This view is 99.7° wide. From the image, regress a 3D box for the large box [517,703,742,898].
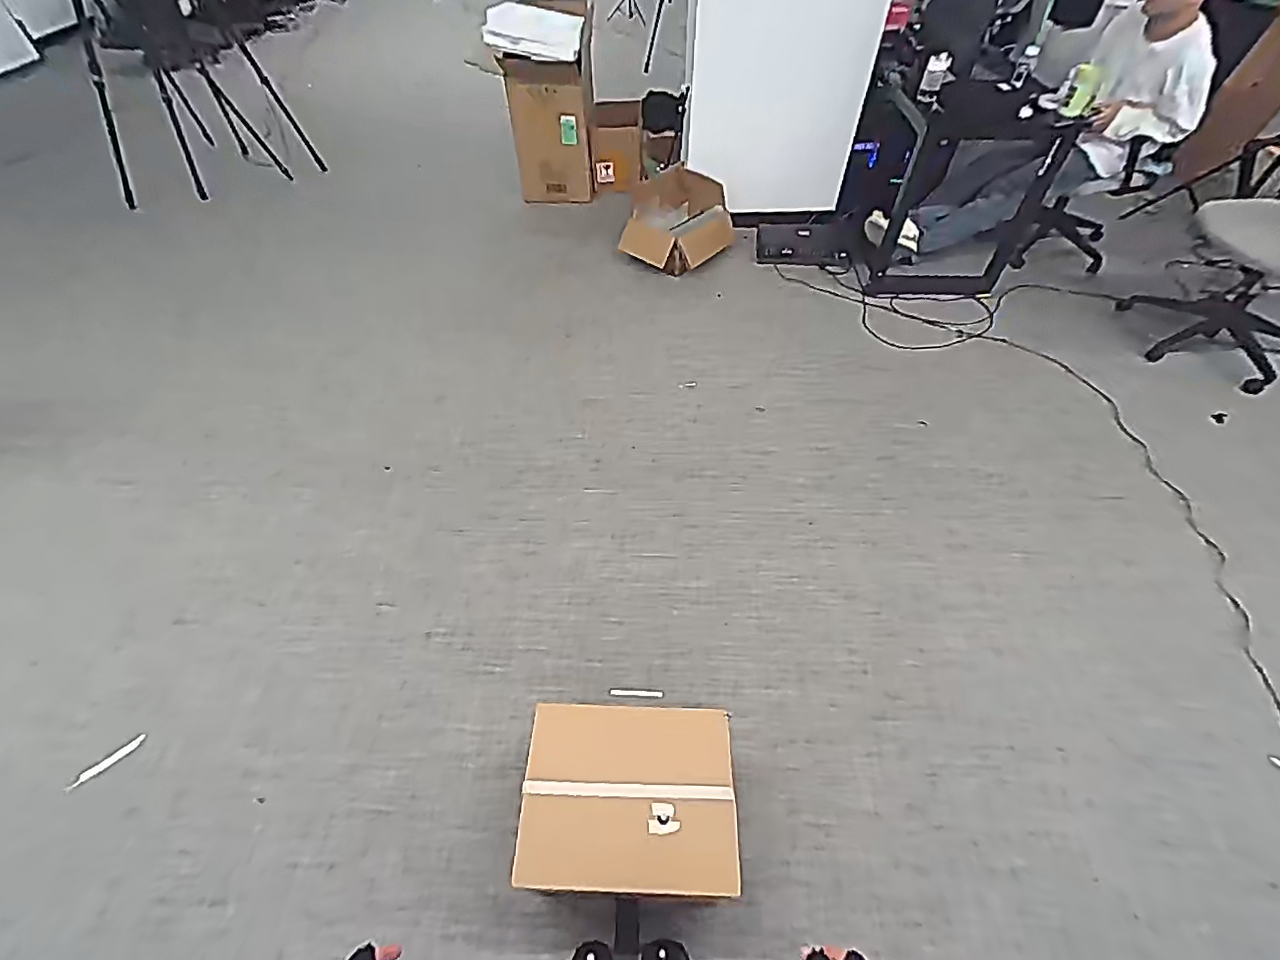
[{"bbox_3d":[-0.020,0.687,1.151,0.408,0.320,0.320,2,51,1],"label":"large box"}]
